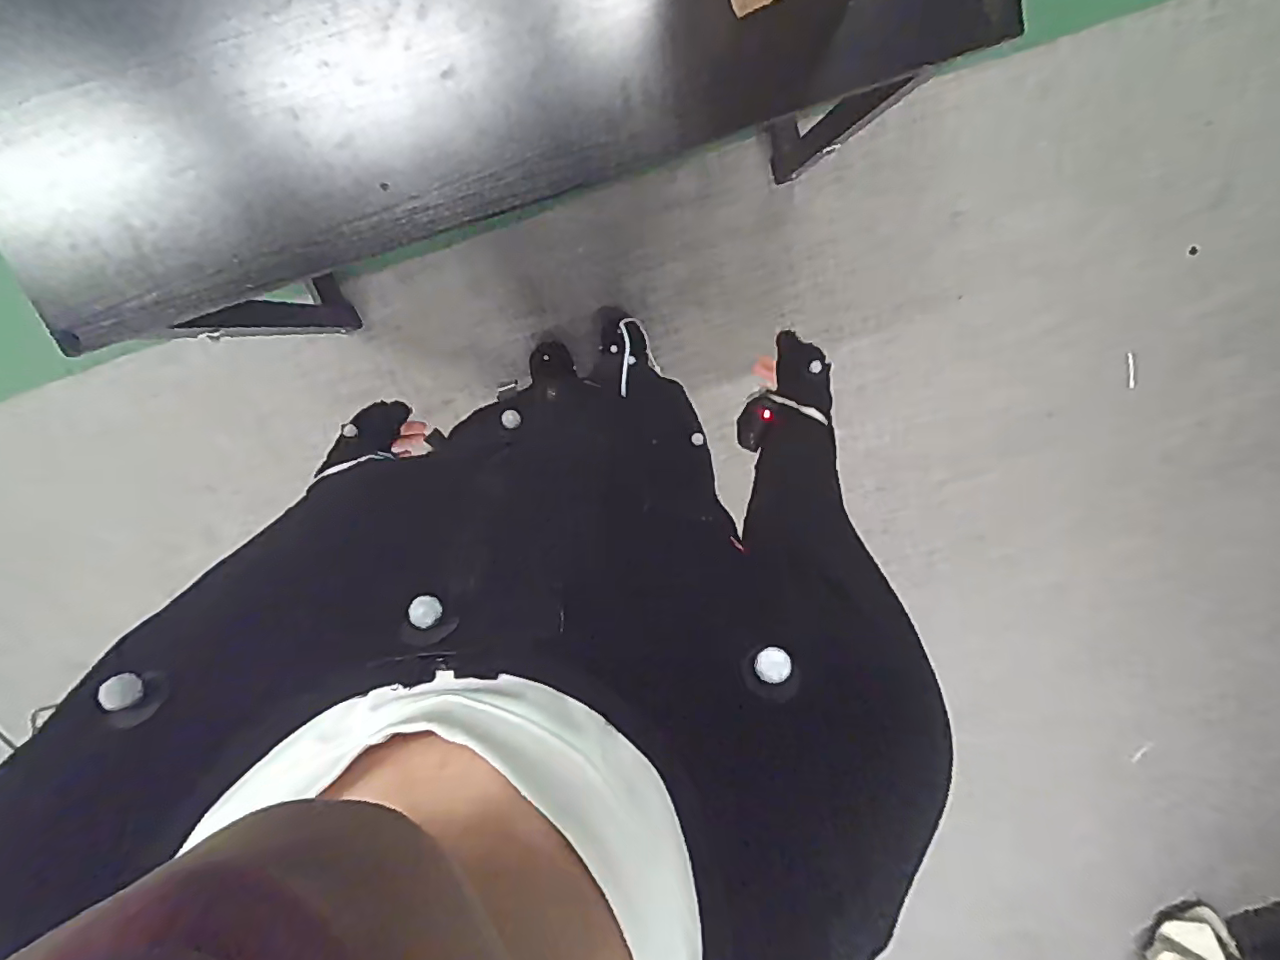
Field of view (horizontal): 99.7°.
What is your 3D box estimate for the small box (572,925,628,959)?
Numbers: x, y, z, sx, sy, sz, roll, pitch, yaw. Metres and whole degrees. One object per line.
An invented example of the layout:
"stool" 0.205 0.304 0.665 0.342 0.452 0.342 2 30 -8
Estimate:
"small box" -0.136 1.718 1.898 0.179 0.176 0.168 -17 106 0
